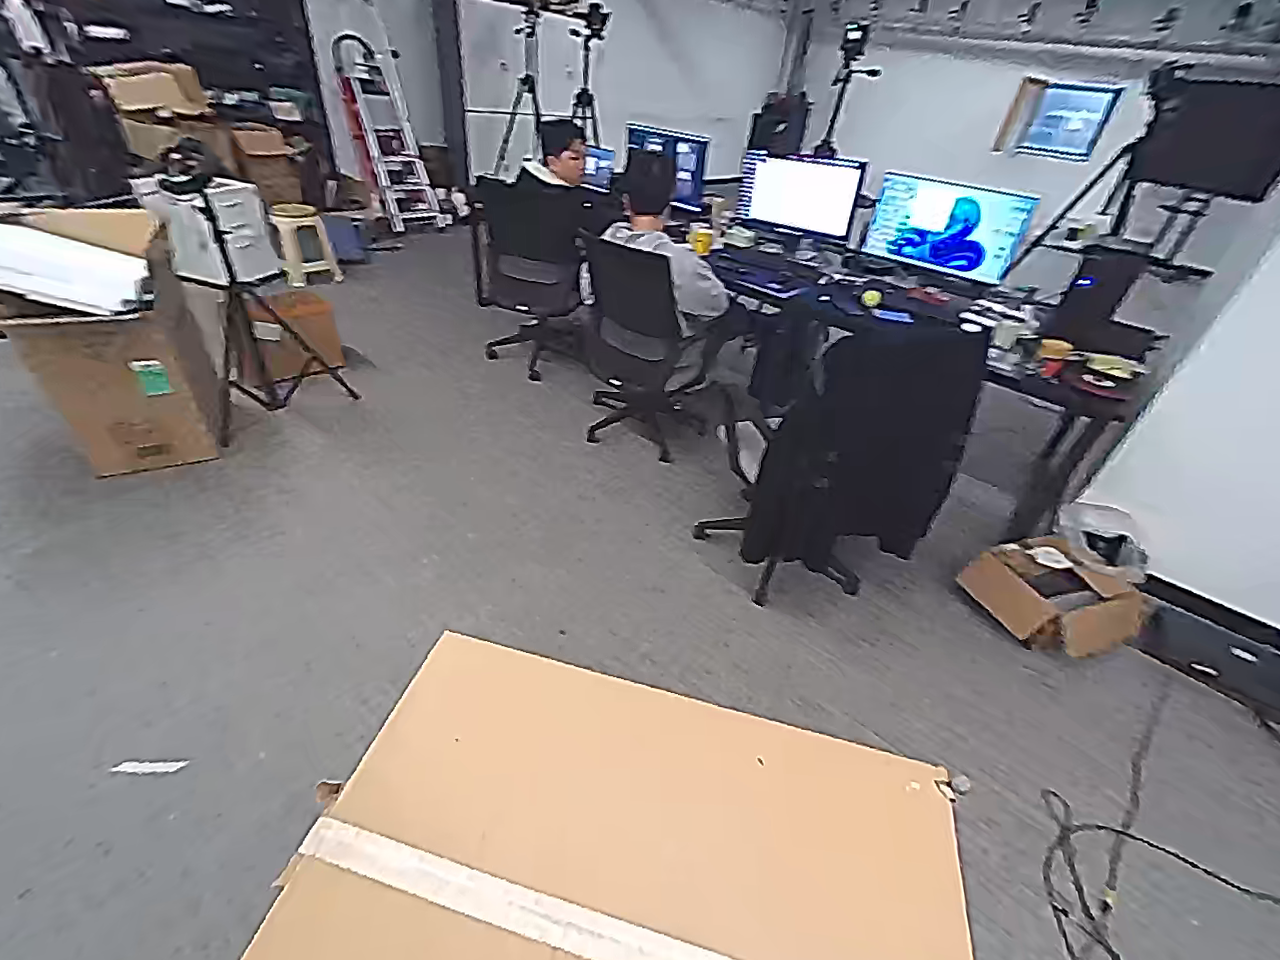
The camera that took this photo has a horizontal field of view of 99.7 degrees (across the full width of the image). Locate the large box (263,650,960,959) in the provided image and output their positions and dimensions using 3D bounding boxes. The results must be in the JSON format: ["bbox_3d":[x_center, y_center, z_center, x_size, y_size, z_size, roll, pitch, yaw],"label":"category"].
[{"bbox_3d":[-0.020,0.387,0.422,0.408,0.320,0.320,12,44,8],"label":"large box"}]
